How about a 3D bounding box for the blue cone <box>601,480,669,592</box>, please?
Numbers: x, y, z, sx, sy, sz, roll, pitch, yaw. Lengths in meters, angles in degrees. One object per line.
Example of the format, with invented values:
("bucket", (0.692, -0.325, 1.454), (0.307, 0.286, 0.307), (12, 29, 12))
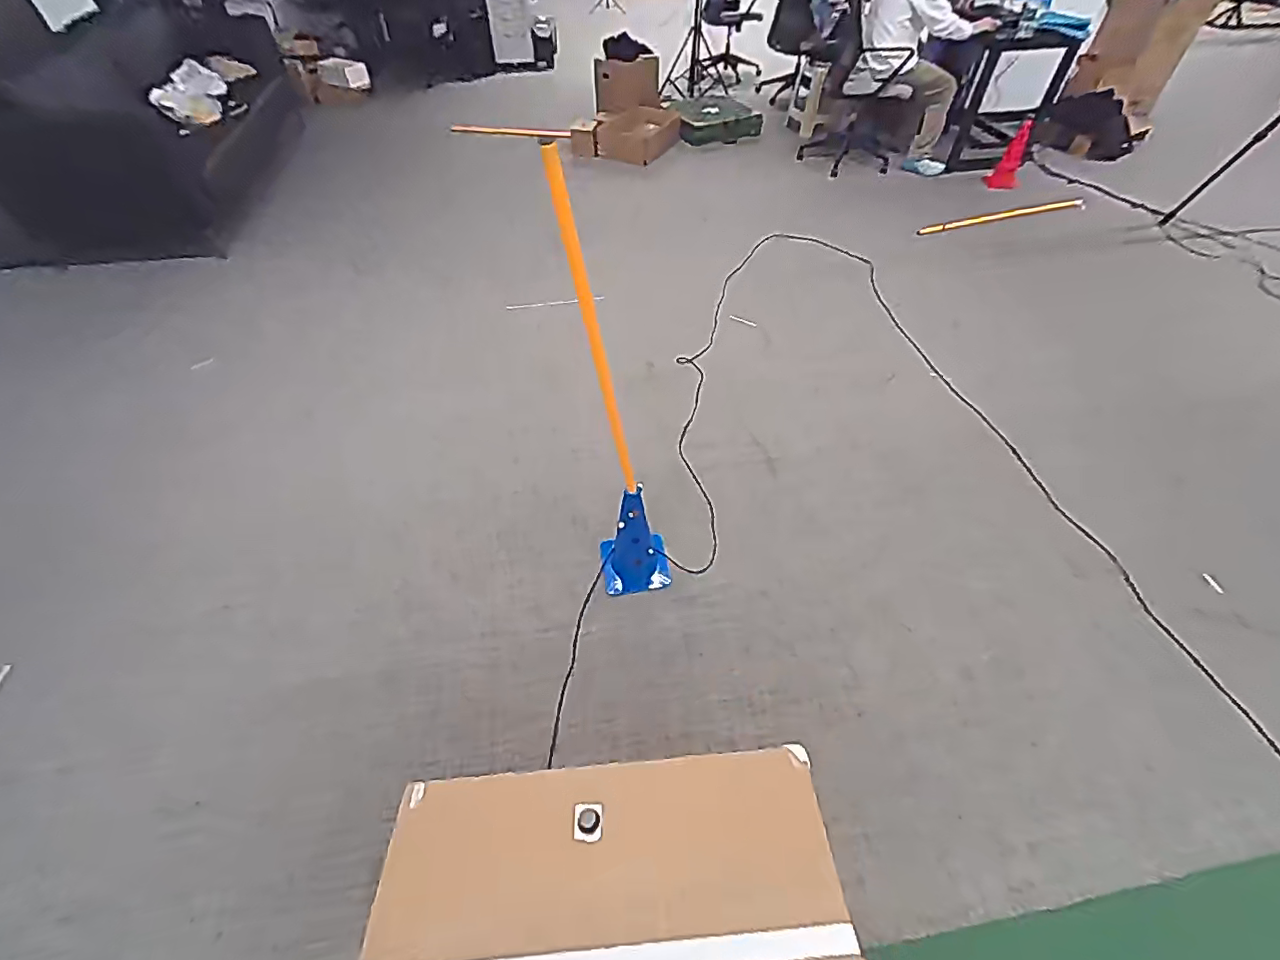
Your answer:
("blue cone", (-0.020, 0.143, 1.534), (0.193, 0.380, 0.192), (-10, 49, -7))
